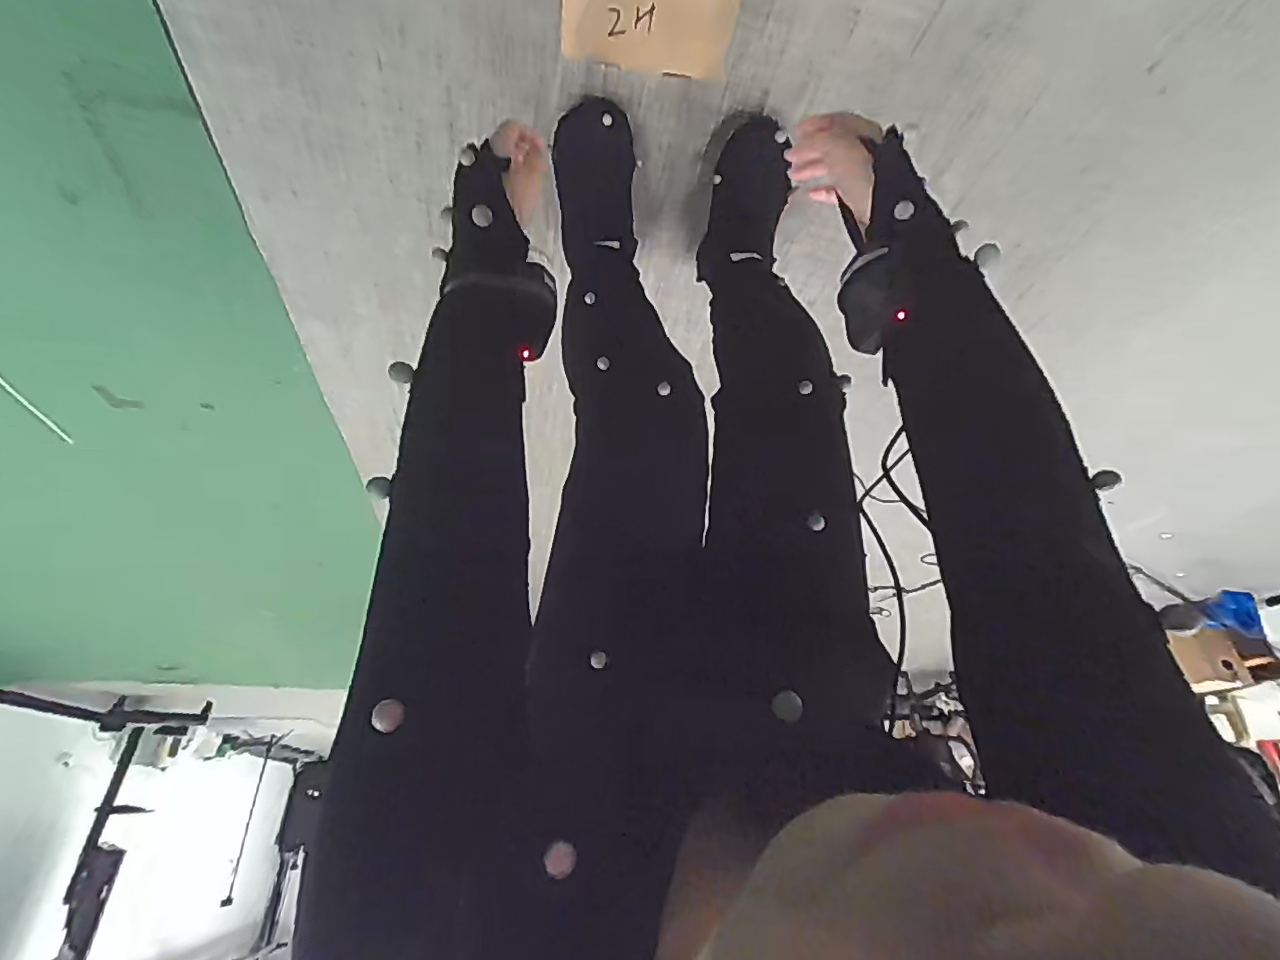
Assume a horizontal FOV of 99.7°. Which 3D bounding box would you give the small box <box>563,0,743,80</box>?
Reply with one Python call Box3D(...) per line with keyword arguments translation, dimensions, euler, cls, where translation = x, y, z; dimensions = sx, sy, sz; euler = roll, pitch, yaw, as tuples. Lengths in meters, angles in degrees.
Box3D(translation=(0.016, -0.527, 0.512), dimensions=(0.168, 0.176, 0.179), euler=(4, 147, -7), cls="small box")
